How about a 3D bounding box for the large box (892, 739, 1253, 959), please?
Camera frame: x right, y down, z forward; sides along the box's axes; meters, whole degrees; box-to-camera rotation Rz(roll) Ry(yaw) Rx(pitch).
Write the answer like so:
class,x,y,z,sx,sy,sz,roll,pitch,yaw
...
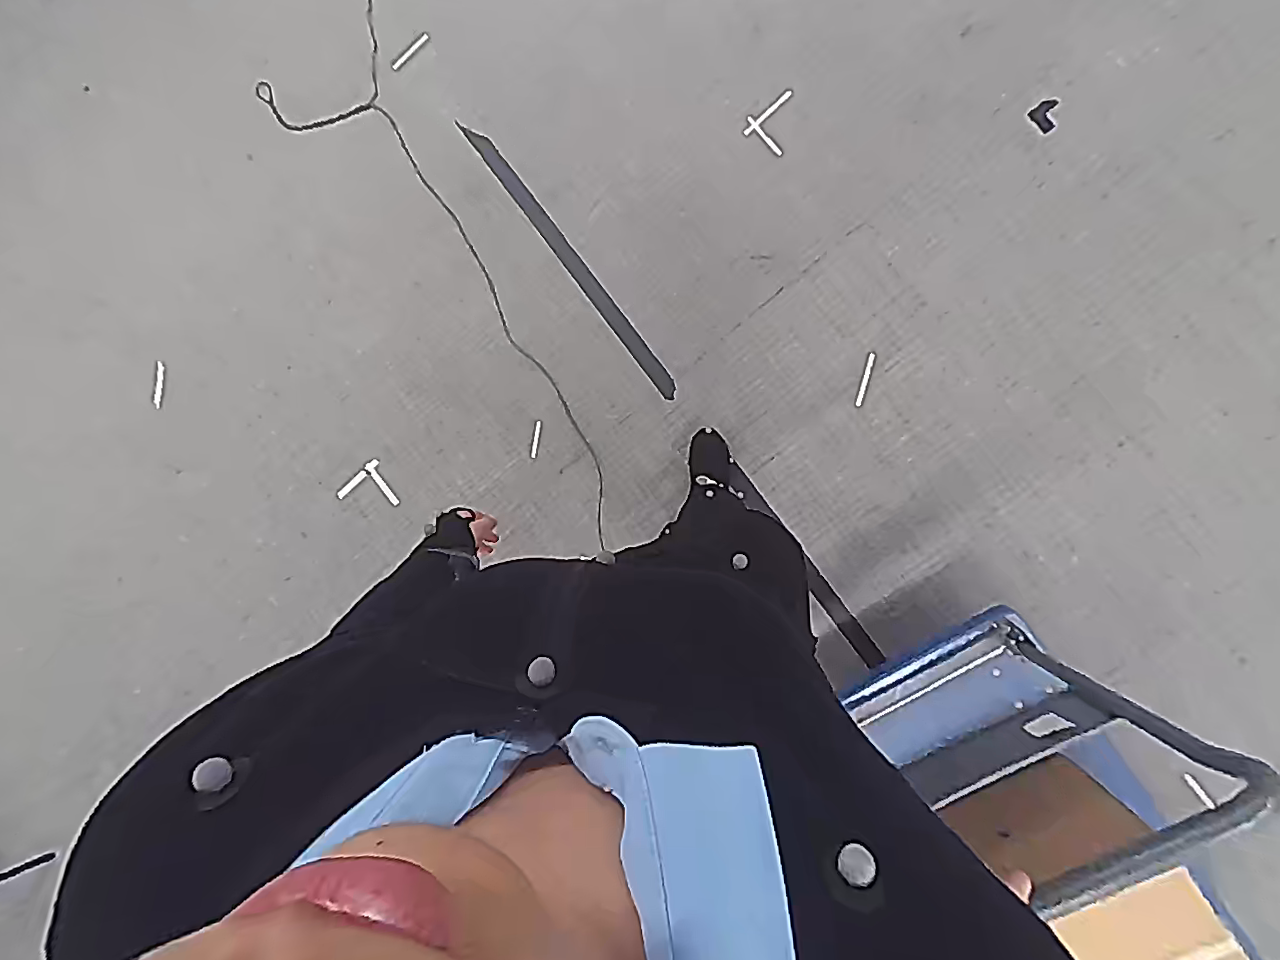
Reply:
class,x,y,z,sx,sy,sz,roll,pitch,yaw
large box,0.790,0.794,1.052,0.408,0.320,0.320,-32,85,8
